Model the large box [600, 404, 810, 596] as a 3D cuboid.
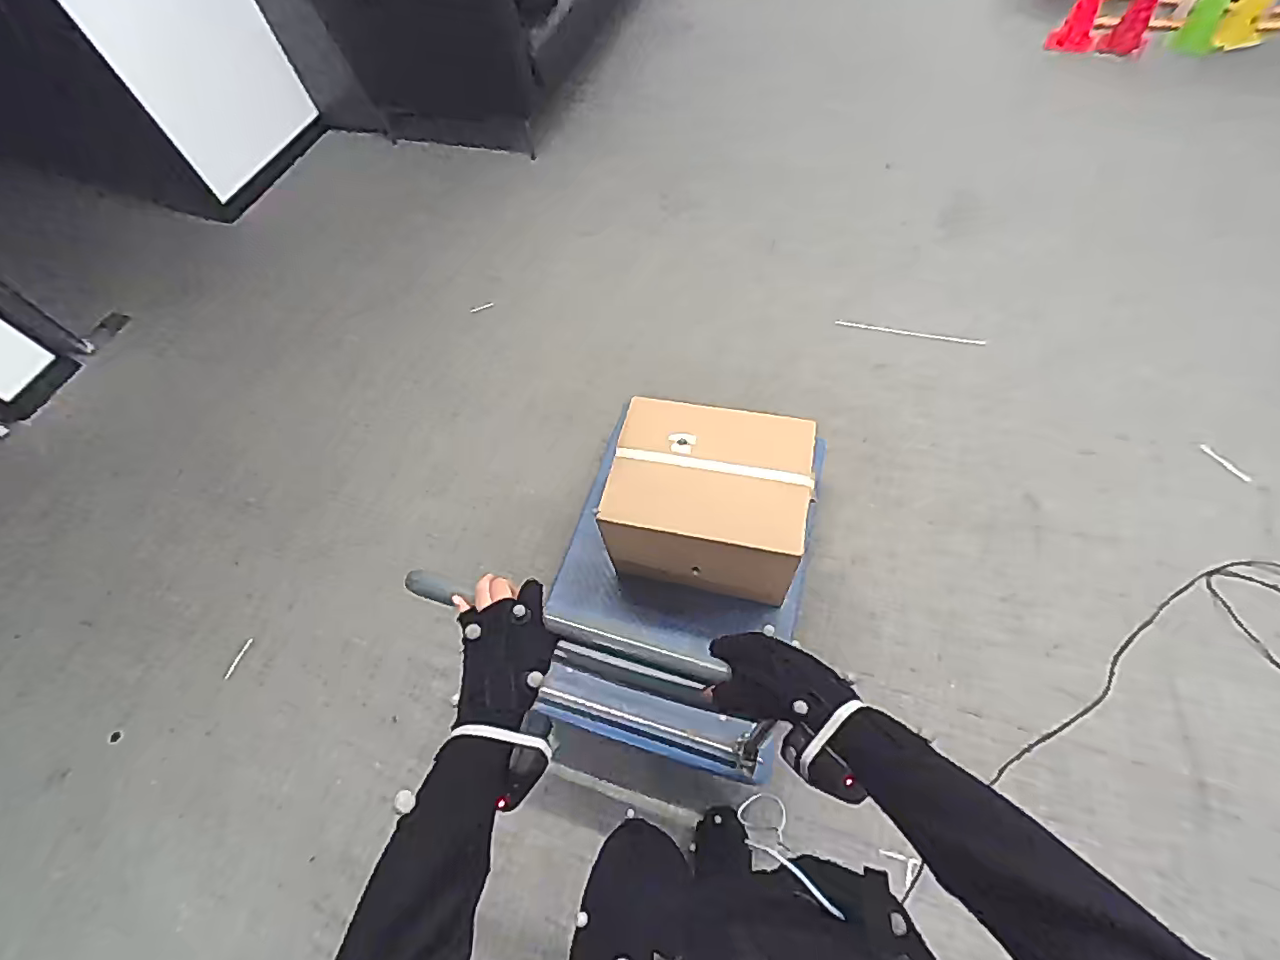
[{"bbox_3d":[0.161,0.052,1.250,0.408,0.320,0.320,8,61,12],"label":"large box"}]
